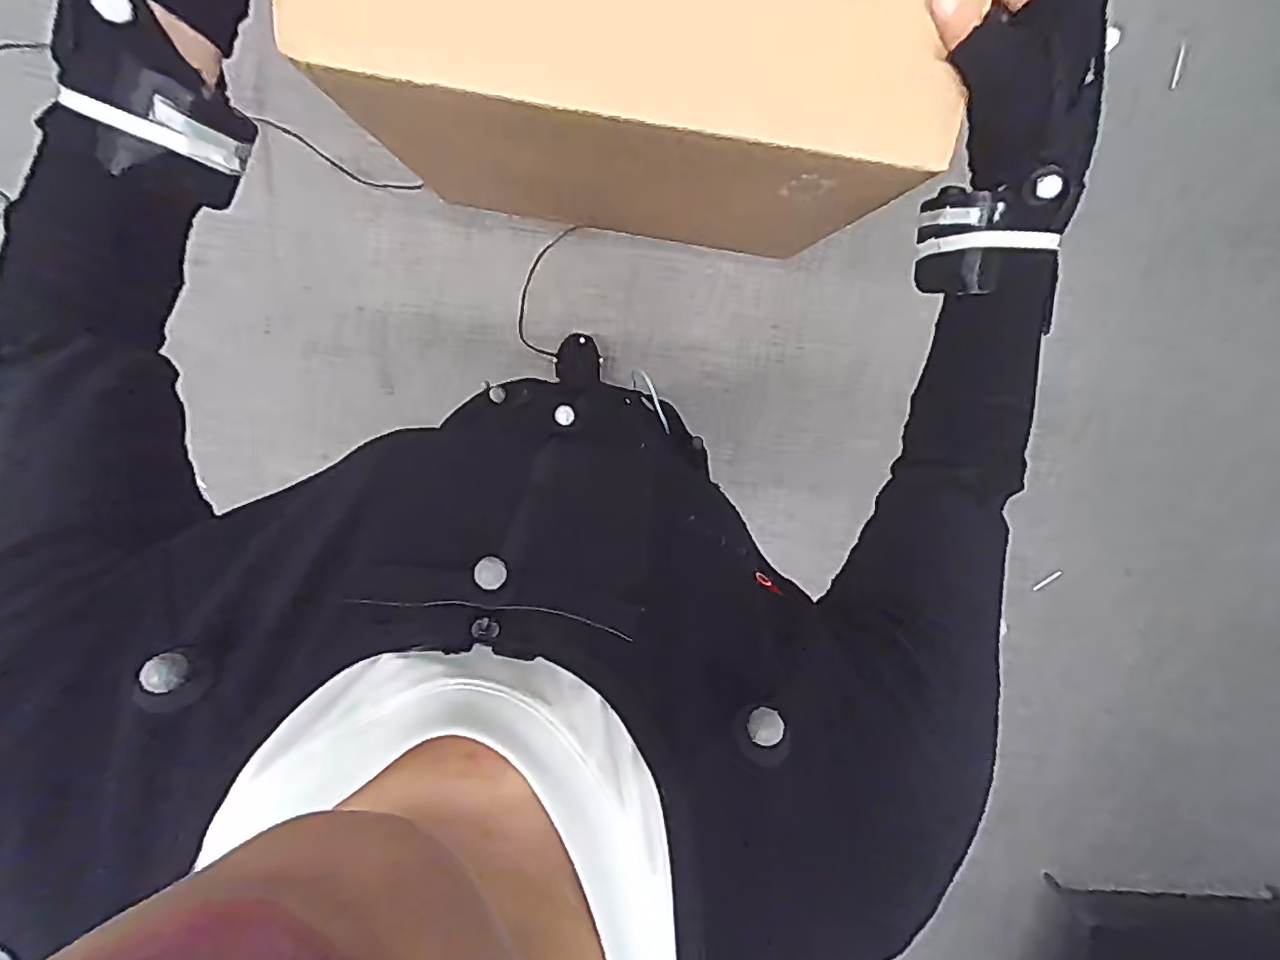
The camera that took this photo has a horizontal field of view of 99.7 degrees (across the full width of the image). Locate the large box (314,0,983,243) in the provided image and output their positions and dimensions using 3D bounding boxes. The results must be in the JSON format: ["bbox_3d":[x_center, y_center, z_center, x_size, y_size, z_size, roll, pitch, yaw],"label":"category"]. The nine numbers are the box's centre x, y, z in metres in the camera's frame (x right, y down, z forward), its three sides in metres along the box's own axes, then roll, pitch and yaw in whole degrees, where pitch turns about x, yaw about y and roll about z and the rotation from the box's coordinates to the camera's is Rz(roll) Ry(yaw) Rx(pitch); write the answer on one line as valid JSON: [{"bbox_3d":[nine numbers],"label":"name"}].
[{"bbox_3d":[0.012,-0.412,0.446,0.408,0.320,0.320,7,103,-6],"label":"large box"}]
